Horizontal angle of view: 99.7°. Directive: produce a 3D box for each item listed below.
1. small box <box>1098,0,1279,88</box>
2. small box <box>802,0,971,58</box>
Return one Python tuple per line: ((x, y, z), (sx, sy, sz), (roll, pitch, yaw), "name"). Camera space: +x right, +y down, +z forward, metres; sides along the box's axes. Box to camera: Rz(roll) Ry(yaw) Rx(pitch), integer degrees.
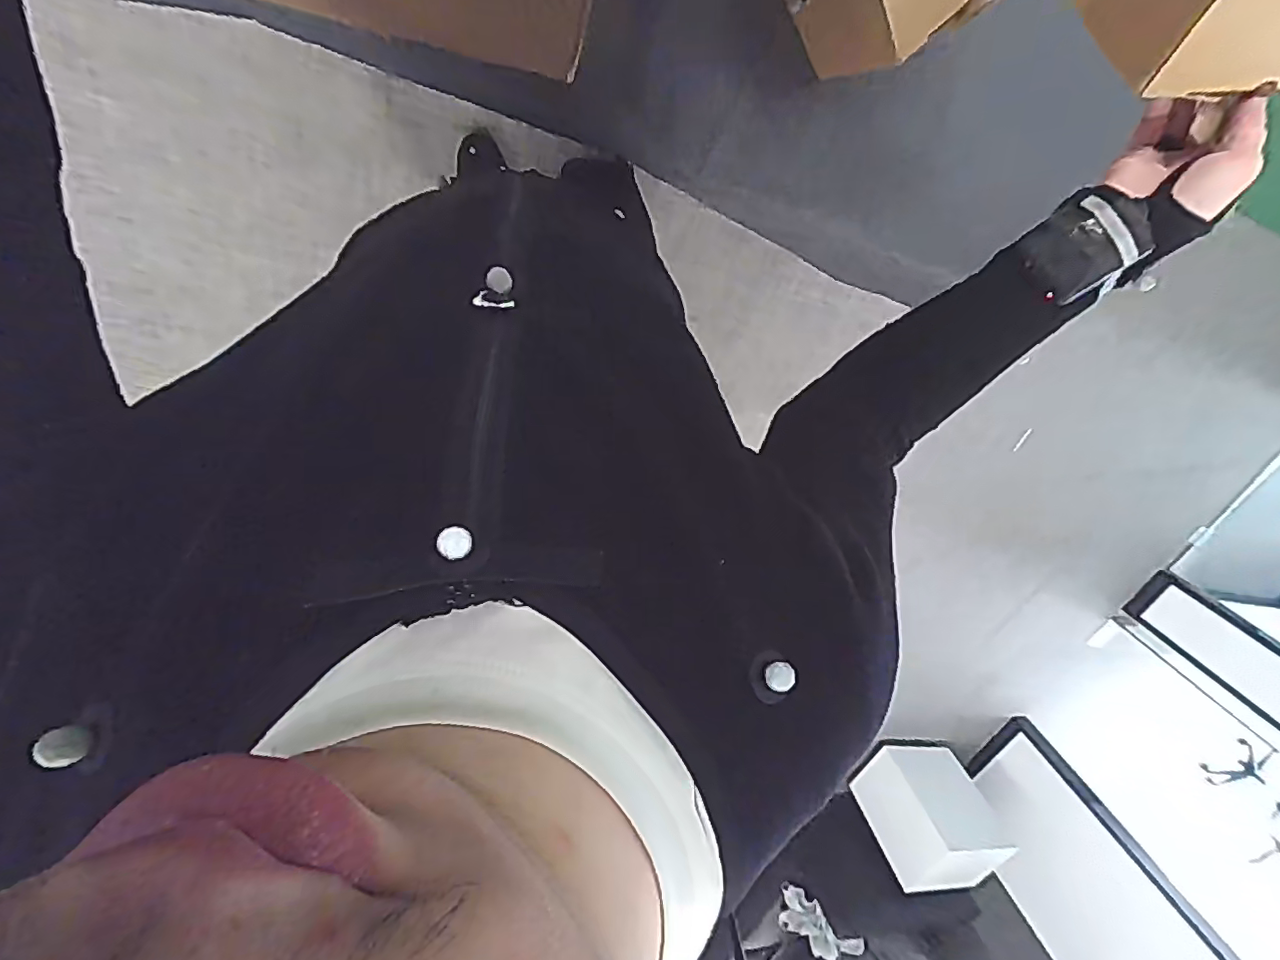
((0.404, -0.366, 0.308), (0.168, 0.176, 0.179), (-2, 154, -1), "small box")
((0.253, -0.552, 0.520), (0.168, 0.176, 0.179), (-35, 124, 13), "small box")
